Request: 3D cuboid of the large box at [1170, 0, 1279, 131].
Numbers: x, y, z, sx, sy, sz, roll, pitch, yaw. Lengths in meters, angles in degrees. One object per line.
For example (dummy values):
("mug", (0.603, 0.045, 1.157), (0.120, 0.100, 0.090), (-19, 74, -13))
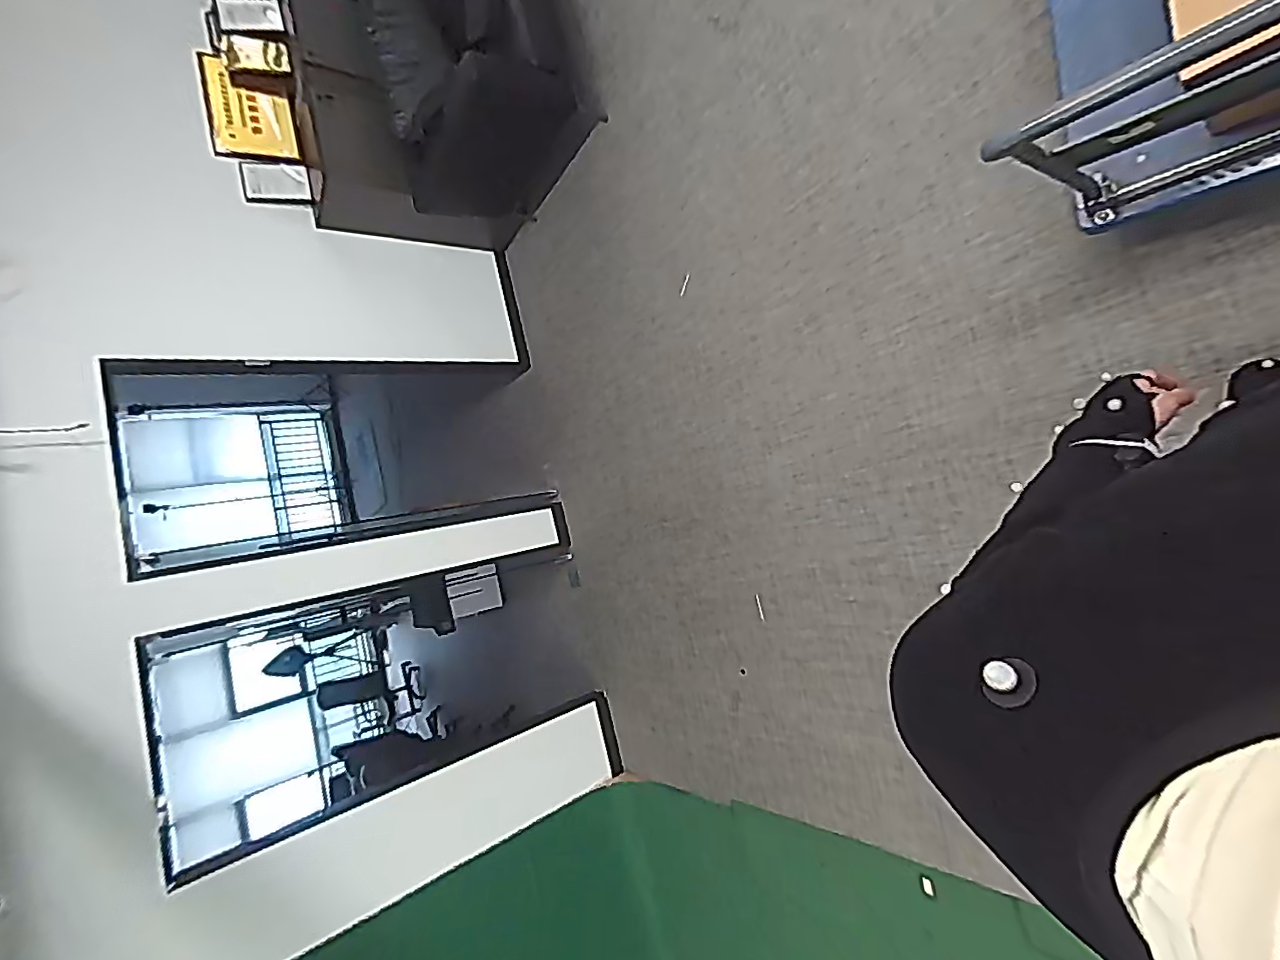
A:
("large box", (0.996, -0.821, 0.776), (0.320, 0.320, 0.408), (-8, 90, 52))
